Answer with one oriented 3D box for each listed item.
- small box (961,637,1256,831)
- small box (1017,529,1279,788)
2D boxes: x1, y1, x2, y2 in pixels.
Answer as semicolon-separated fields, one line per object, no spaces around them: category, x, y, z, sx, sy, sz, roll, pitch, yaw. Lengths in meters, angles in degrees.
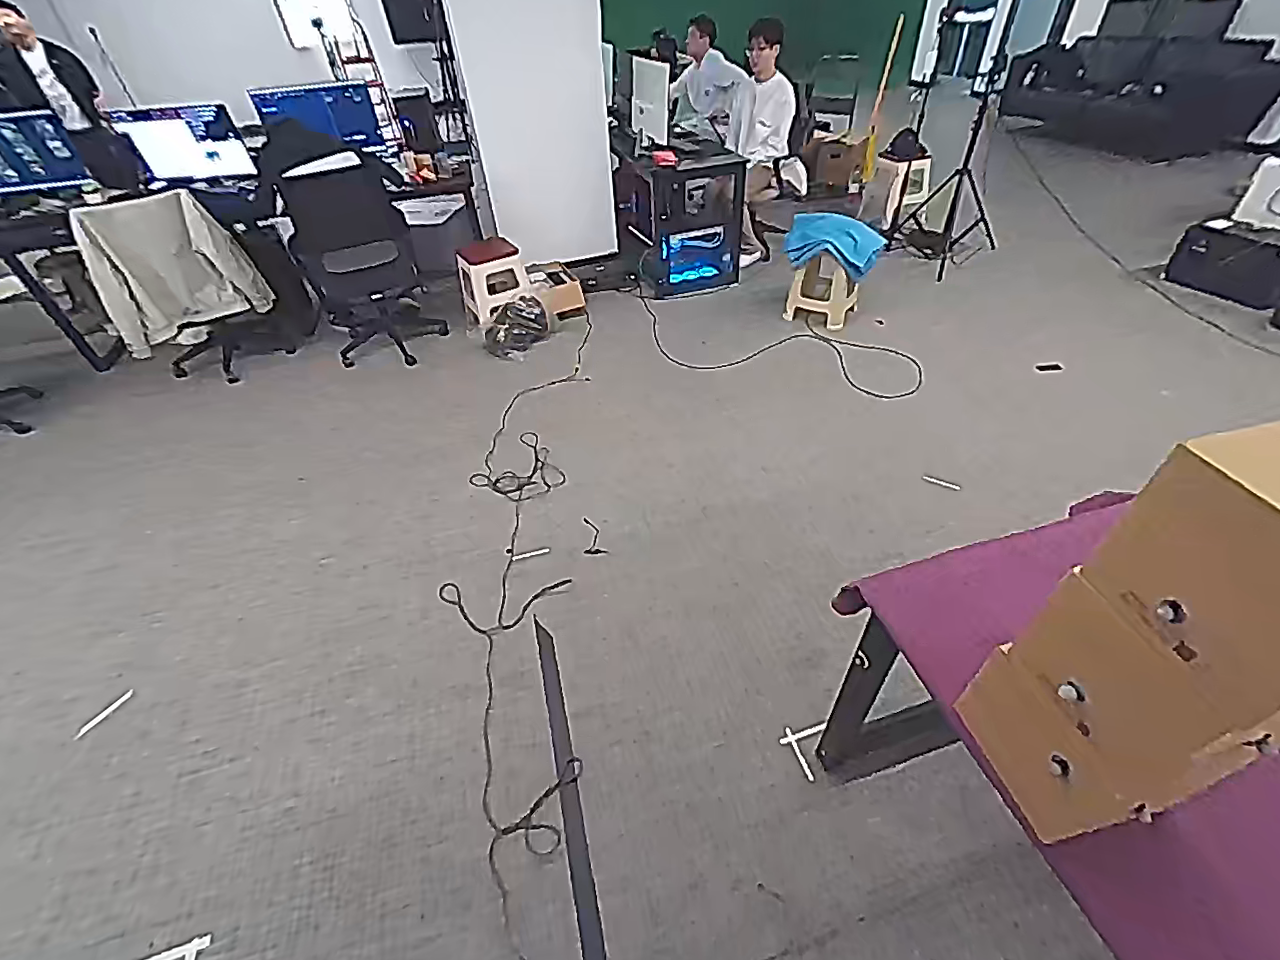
small box;0.537;0.299;0.655;0.168;0.176;0.179;-11;43;-6
small box;0.536;0.179;0.542;0.179;0.176;0.168;-12;43;-6
